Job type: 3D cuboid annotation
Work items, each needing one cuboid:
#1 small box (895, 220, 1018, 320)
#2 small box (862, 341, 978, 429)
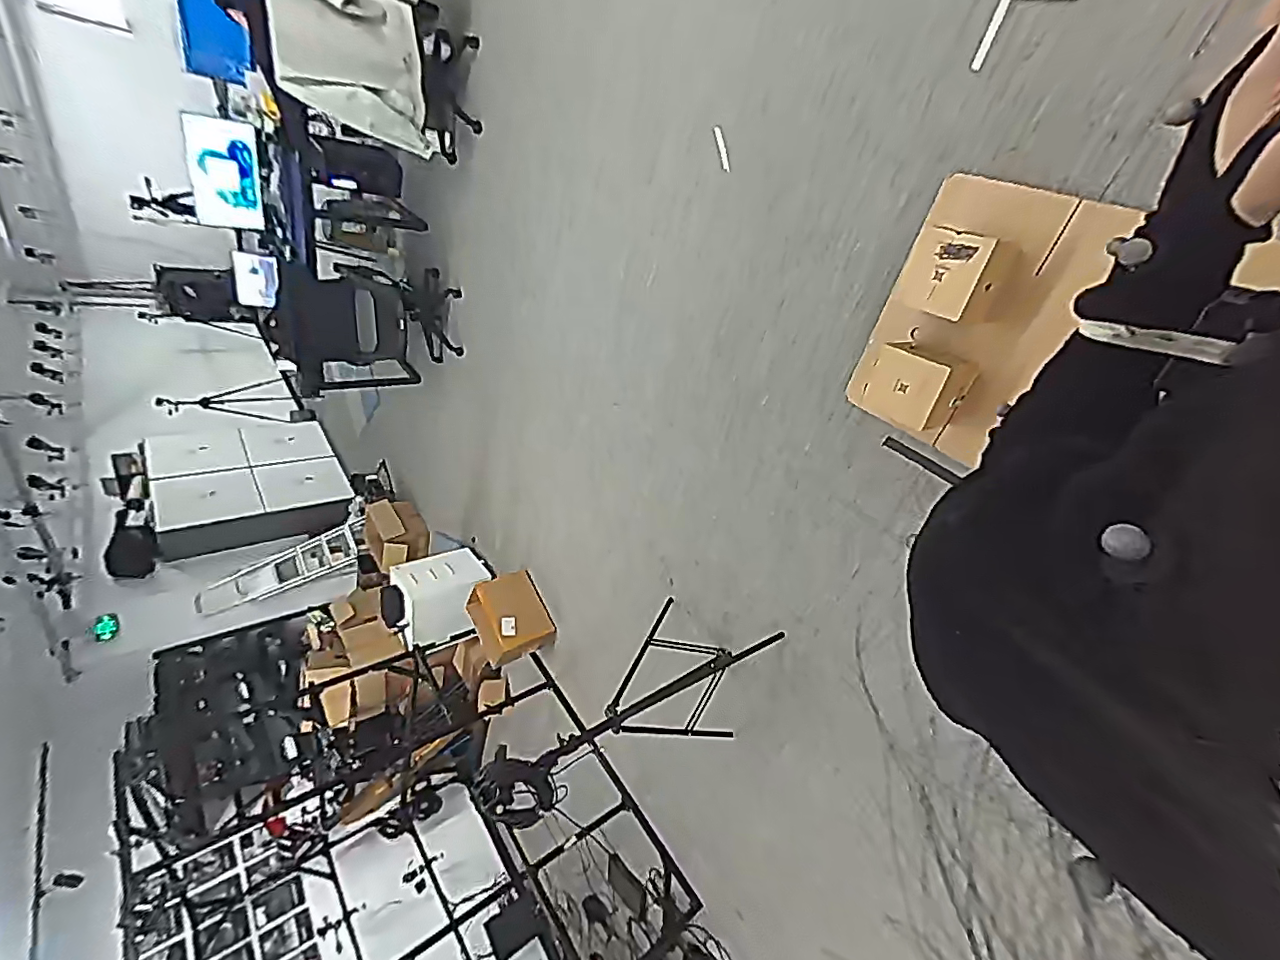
[{"bbox_3d":[0.732,-0.479,1.243,0.168,0.176,0.179,38,128,38],"label":"small box"},{"bbox_3d":[0.699,-0.244,1.353,0.179,0.176,0.168,36,127,38],"label":"small box"}]
